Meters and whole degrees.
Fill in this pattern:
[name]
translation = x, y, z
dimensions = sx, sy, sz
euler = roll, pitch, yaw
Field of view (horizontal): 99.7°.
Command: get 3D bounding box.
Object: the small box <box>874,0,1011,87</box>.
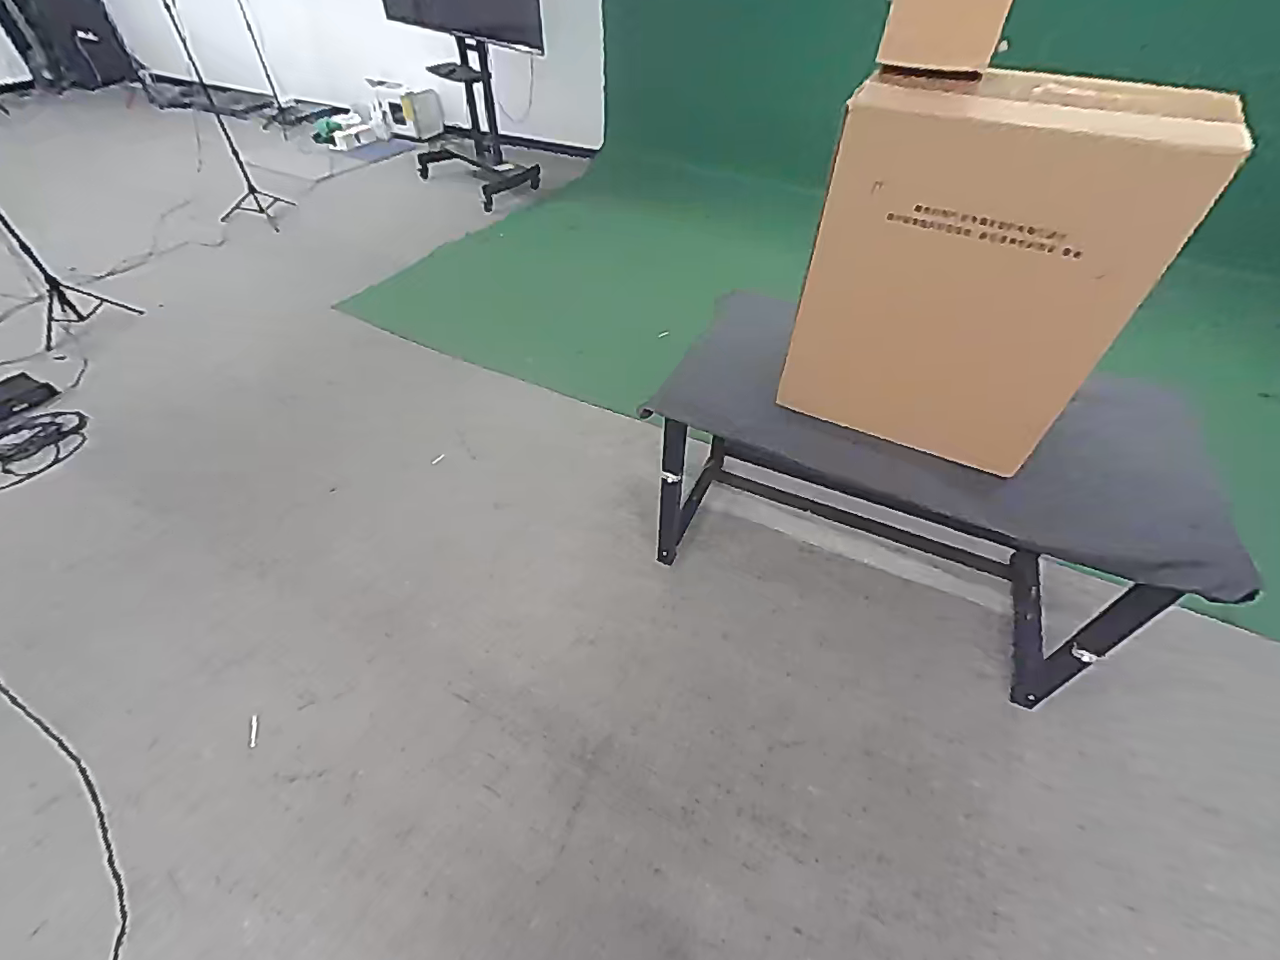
[small box]
translation = 0.519, -0.782, 0.917
dimensions = 0.179, 0.176, 0.168
euler = 21, 43, 16
